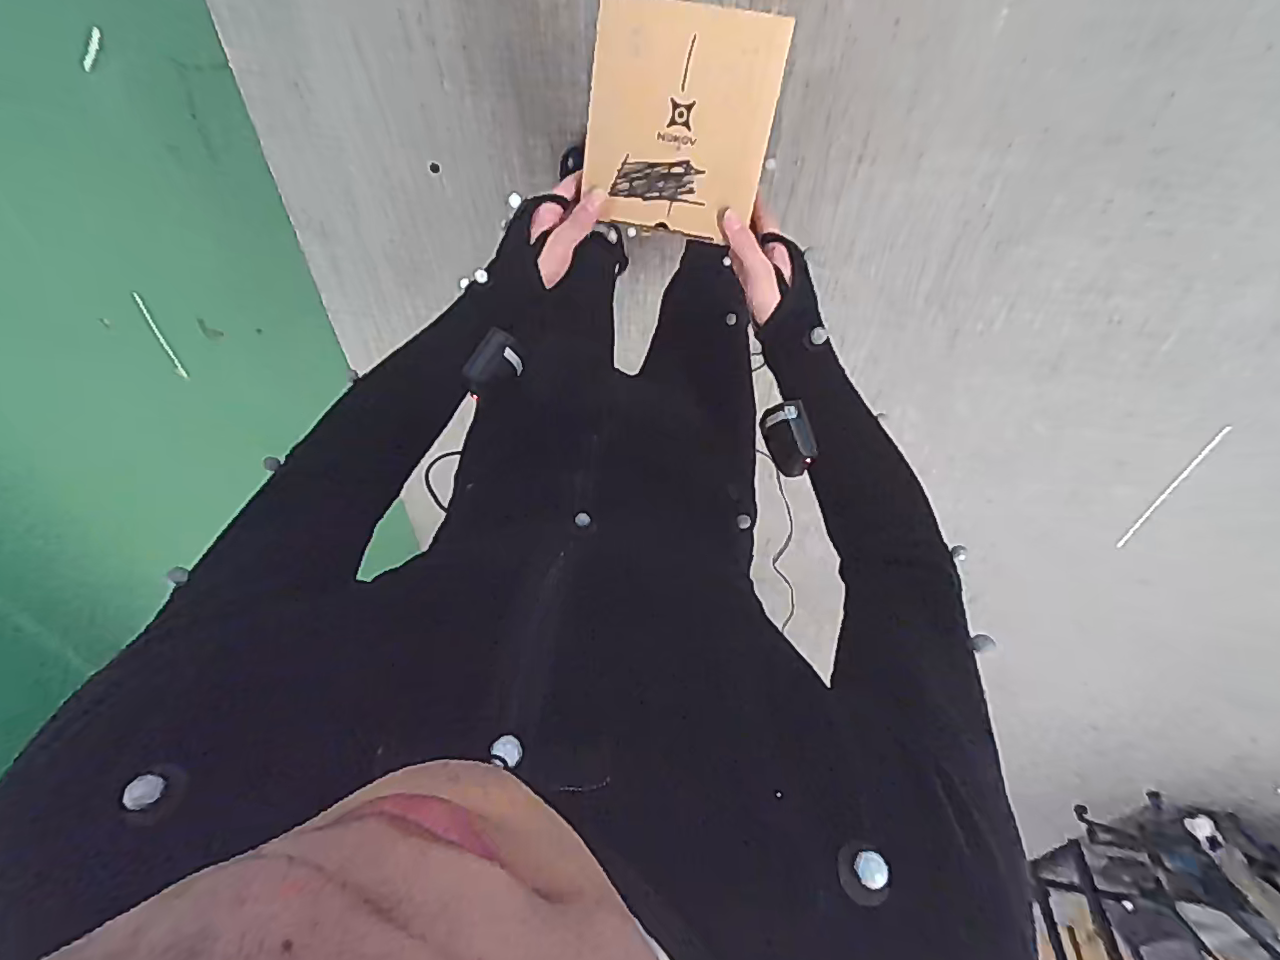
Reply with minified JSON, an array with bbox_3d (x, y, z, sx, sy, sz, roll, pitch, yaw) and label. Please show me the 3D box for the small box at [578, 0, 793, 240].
[{"bbox_3d":[0.045,-0.353,0.551,0.168,0.176,0.179,12,115,3],"label":"small box"}]
